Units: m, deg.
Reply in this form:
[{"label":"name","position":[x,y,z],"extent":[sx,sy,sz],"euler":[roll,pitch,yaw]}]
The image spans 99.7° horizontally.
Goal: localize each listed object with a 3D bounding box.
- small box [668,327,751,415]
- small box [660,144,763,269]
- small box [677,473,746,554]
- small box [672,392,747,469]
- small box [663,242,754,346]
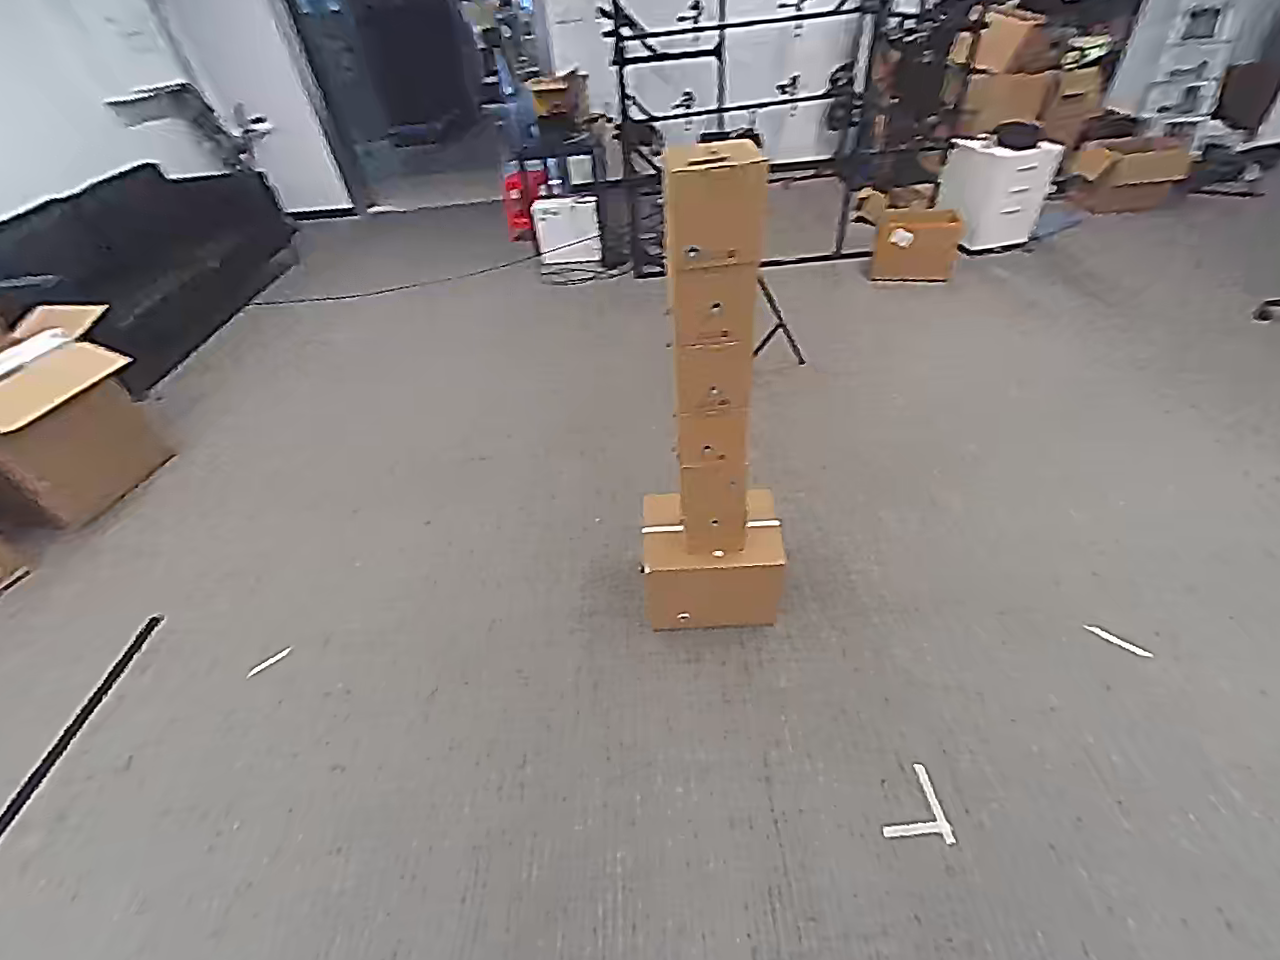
[{"label":"small box","position":[0.153,-0.270,1.242],"extent":[0.168,0.176,0.179],"euler":[-6,43,1]},{"label":"small box","position":[0.130,-0.508,1.016],"extent":[0.168,0.176,0.179],"euler":[-6,43,1]},{"label":"small box","position":[0.203,0.100,1.561],"extent":[0.179,0.176,0.168],"euler":[-4,43,1]},{"label":"small box","position":[0.167,-0.147,1.350],"extent":[0.168,0.176,0.179],"euler":[-5,43,2]},{"label":"small box","position":[0.140,-0.394,1.135],"extent":[0.168,0.176,0.179],"euler":[-6,44,0]}]
